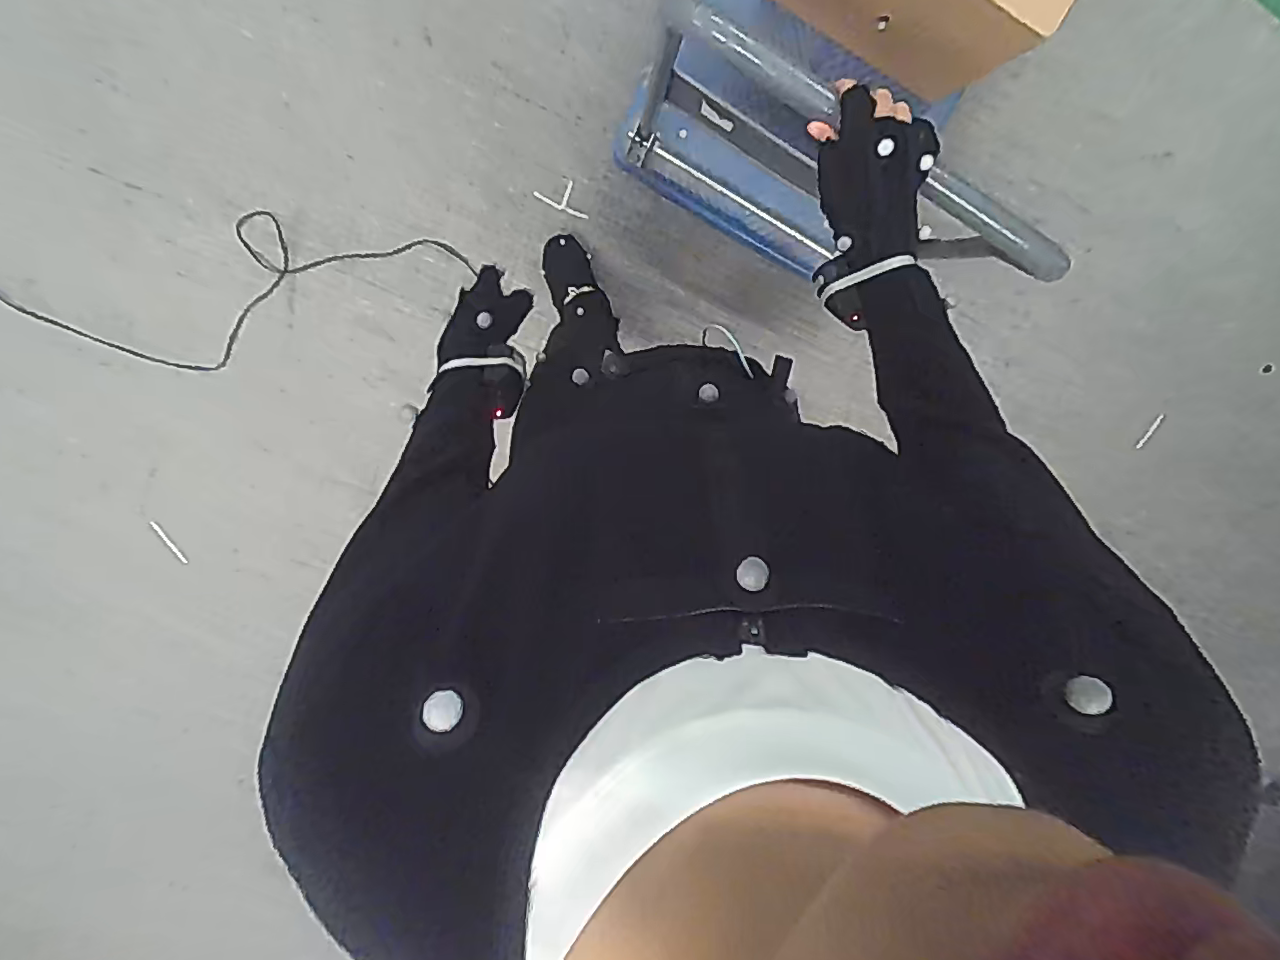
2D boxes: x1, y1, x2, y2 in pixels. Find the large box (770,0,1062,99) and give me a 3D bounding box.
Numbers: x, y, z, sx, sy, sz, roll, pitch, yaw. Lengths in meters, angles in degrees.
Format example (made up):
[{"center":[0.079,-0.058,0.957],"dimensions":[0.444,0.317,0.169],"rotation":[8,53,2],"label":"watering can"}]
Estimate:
[{"center":[0.477,-0.913,0.870],"dimensions":[0.408,0.320,0.320],"rotation":[24,106,-10],"label":"large box"}]
